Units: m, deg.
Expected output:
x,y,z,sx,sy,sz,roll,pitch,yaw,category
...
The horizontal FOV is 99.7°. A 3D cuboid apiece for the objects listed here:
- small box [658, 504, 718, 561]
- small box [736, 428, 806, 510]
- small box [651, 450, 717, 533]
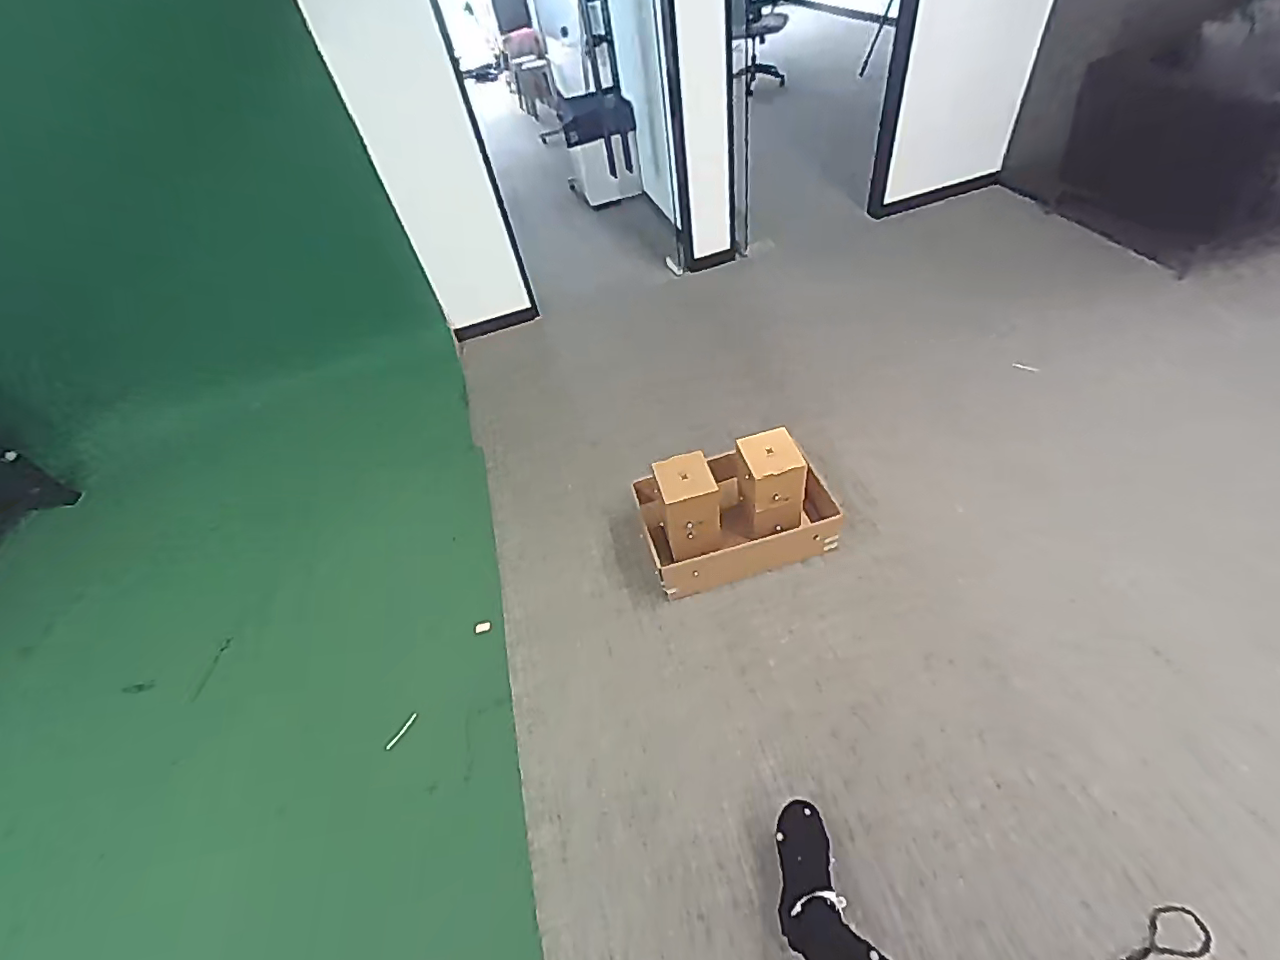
x,y,z,sx,sy,sz,roll,pitch,yaw,category
0.160,0.143,1.818,0.168,0.176,0.179,-15,47,-2,small box
0.407,-0.034,1.712,0.168,0.176,0.179,-15,49,-3,small box
0.139,0.038,1.695,0.168,0.176,0.179,-14,49,-3,small box
